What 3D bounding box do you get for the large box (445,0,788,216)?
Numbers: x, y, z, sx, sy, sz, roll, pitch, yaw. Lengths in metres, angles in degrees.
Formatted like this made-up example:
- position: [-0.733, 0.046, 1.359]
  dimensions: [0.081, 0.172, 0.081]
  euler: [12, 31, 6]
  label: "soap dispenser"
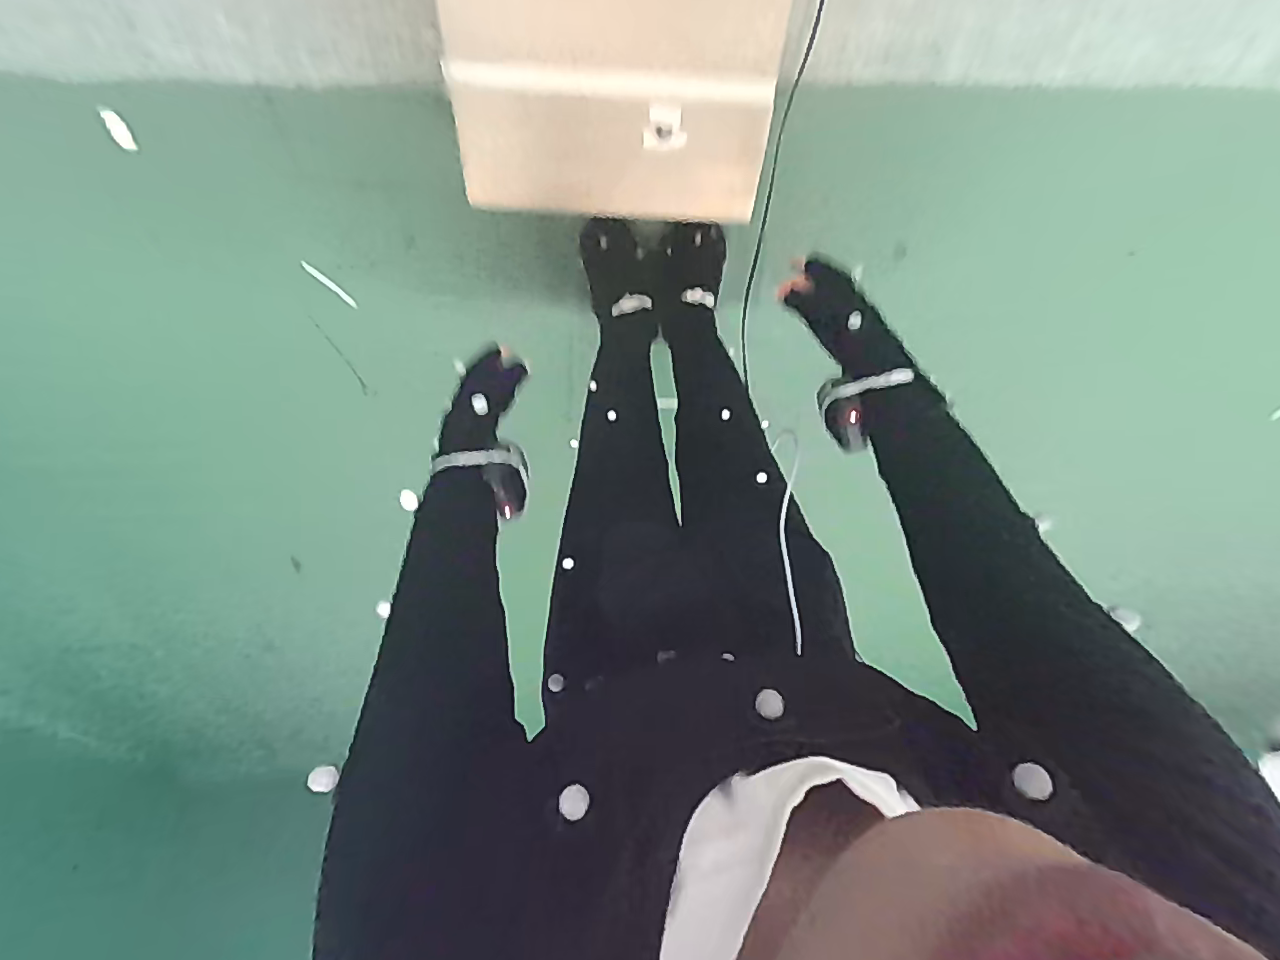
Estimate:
- position: [-0.037, -0.601, 0.785]
  dimensions: [0.408, 0.320, 0.320]
  euler: [1, 134, -4]
  label: "large box"
